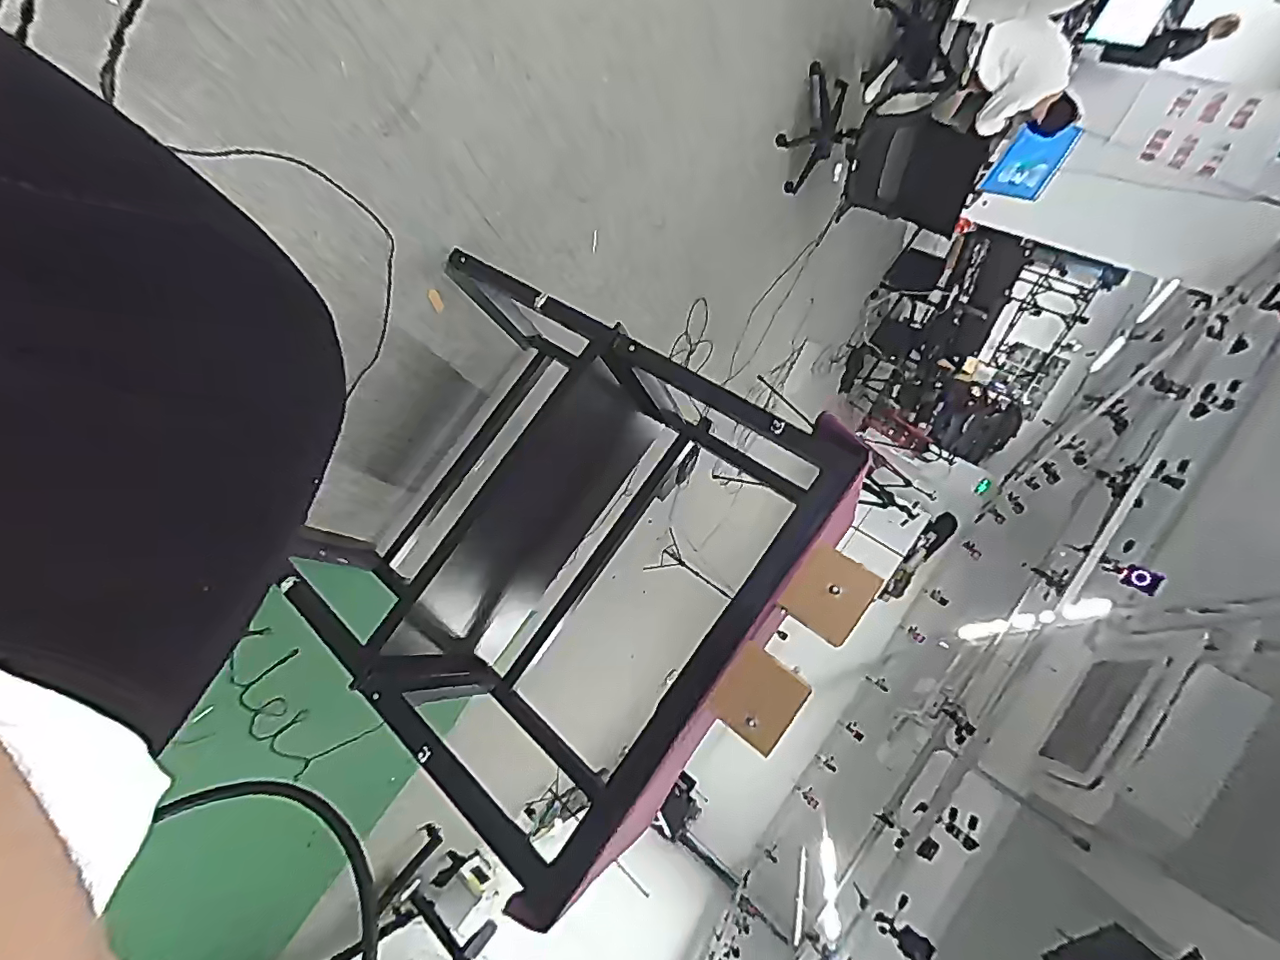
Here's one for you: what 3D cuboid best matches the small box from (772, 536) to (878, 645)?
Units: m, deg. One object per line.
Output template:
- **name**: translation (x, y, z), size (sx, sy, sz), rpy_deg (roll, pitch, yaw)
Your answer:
- **small box**: translation (0.419, 0.258, 1.254), size (0.179, 0.176, 0.168), rpy_deg (-54, 157, -5)
